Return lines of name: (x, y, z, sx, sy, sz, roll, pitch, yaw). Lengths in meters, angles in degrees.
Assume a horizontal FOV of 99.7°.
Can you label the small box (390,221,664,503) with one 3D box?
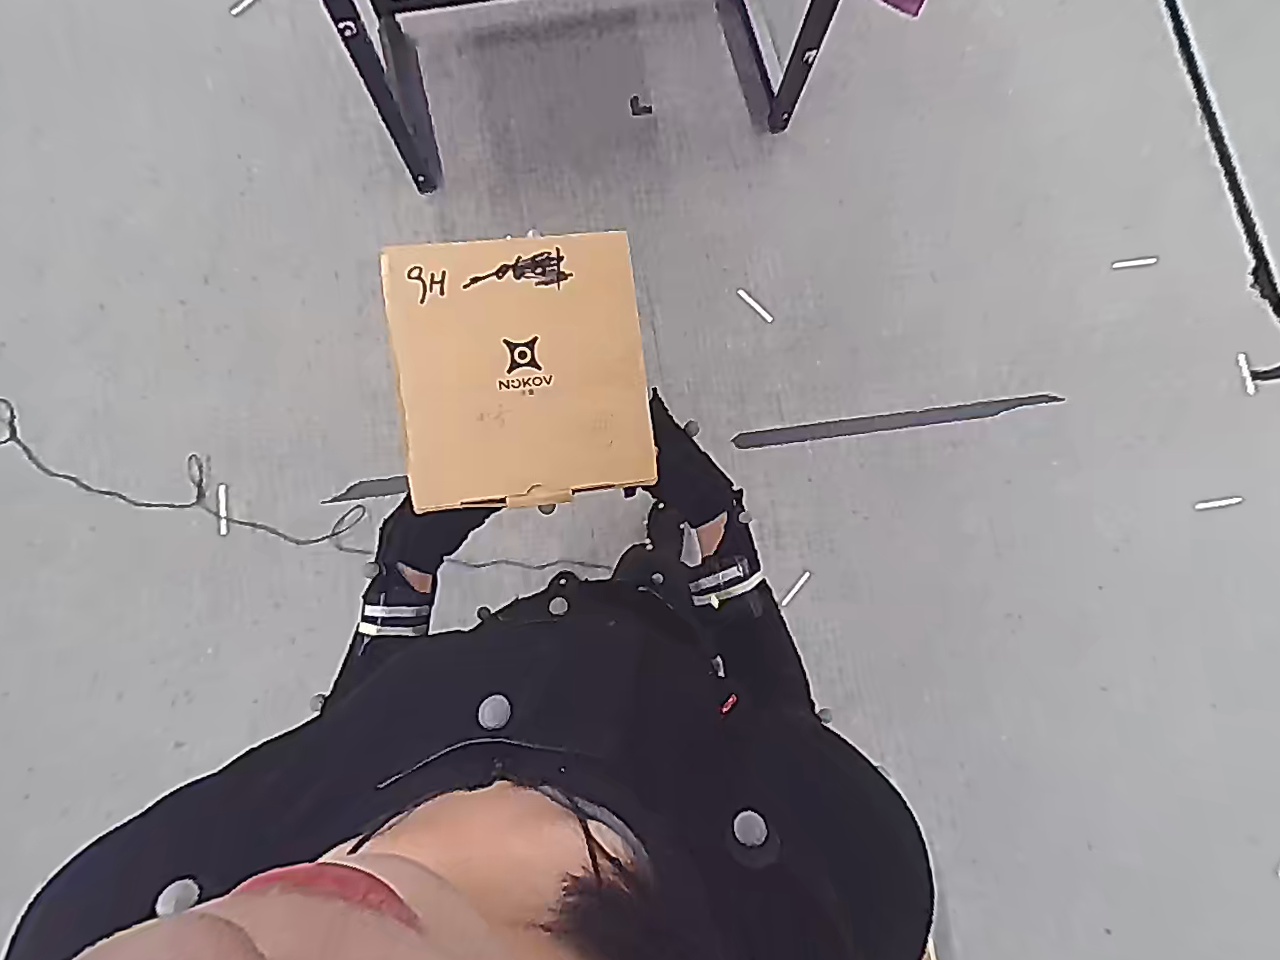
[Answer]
small box: (-0.080, -0.081, 0.434, 0.168, 0.176, 0.179, -6, 91, -7)
